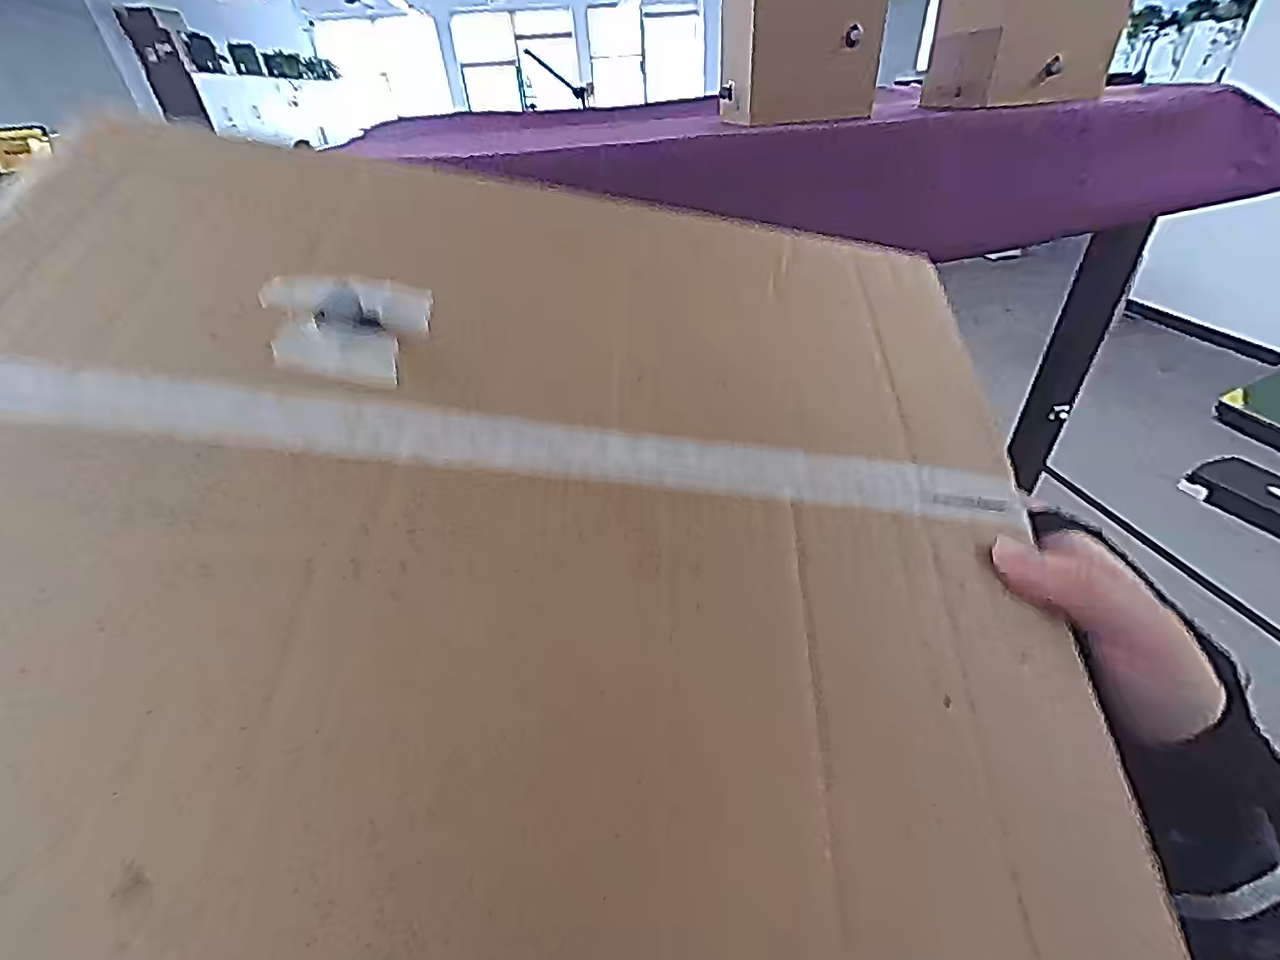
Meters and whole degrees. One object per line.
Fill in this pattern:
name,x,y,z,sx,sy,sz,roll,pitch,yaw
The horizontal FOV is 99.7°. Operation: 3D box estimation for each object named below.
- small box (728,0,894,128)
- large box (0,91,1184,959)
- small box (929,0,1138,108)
small box,0.226,-0.599,0.751,0.179,0.176,0.168,-7,35,-3
large box,-0.067,0.052,0.318,0.408,0.320,0.320,6,59,-7
small box,0.541,-0.628,0.751,0.179,0.176,0.168,-7,35,-3
